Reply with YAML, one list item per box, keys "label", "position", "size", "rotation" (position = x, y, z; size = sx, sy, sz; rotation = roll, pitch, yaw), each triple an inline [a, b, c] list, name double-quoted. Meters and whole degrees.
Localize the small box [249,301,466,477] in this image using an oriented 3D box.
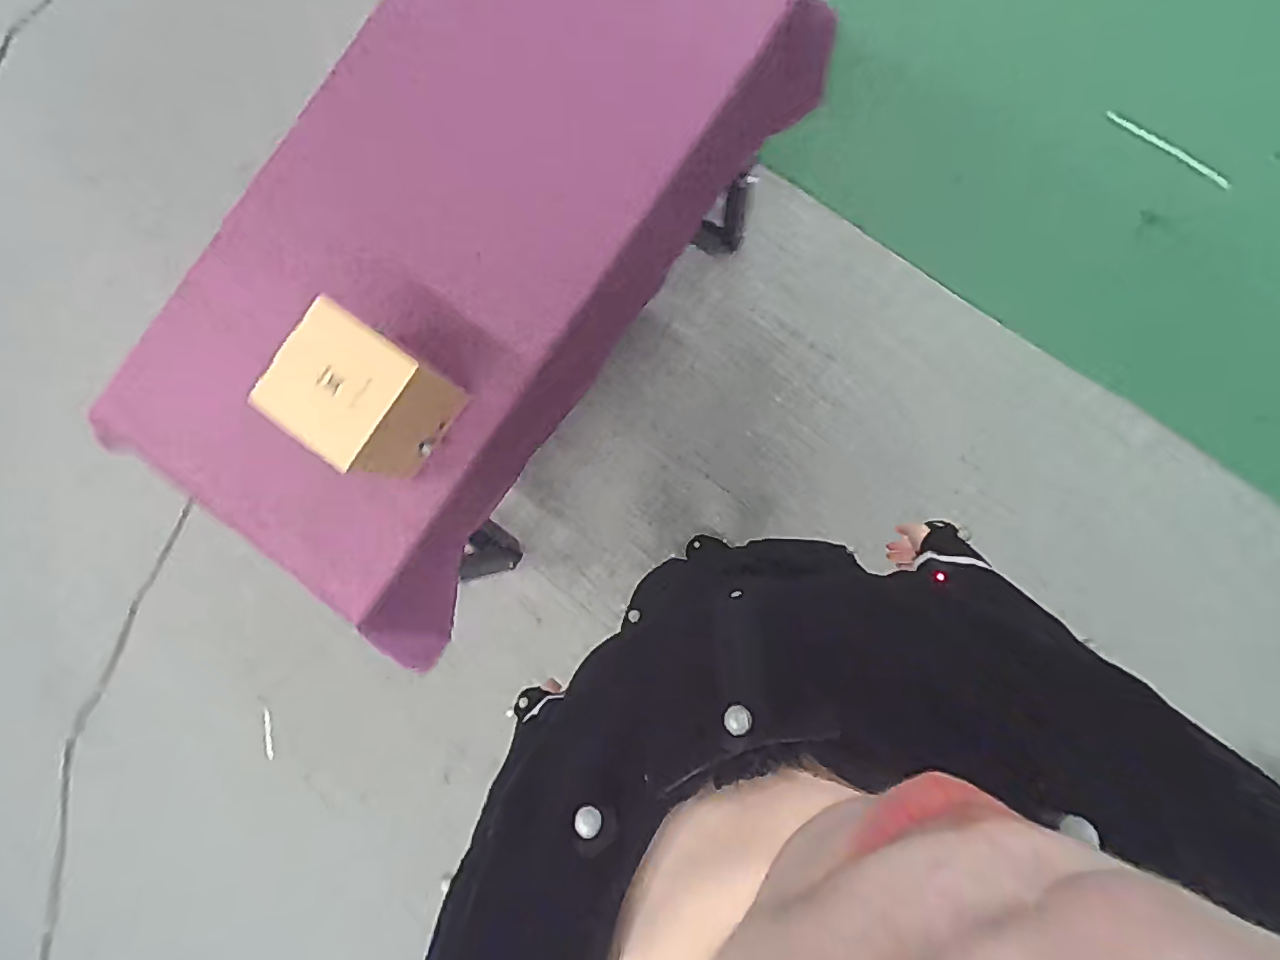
- label: "small box"
  position: [-0.390, -0.116, 0.777]
  size: [0.179, 0.176, 0.168]
  rotation: [35, 90, 7]
